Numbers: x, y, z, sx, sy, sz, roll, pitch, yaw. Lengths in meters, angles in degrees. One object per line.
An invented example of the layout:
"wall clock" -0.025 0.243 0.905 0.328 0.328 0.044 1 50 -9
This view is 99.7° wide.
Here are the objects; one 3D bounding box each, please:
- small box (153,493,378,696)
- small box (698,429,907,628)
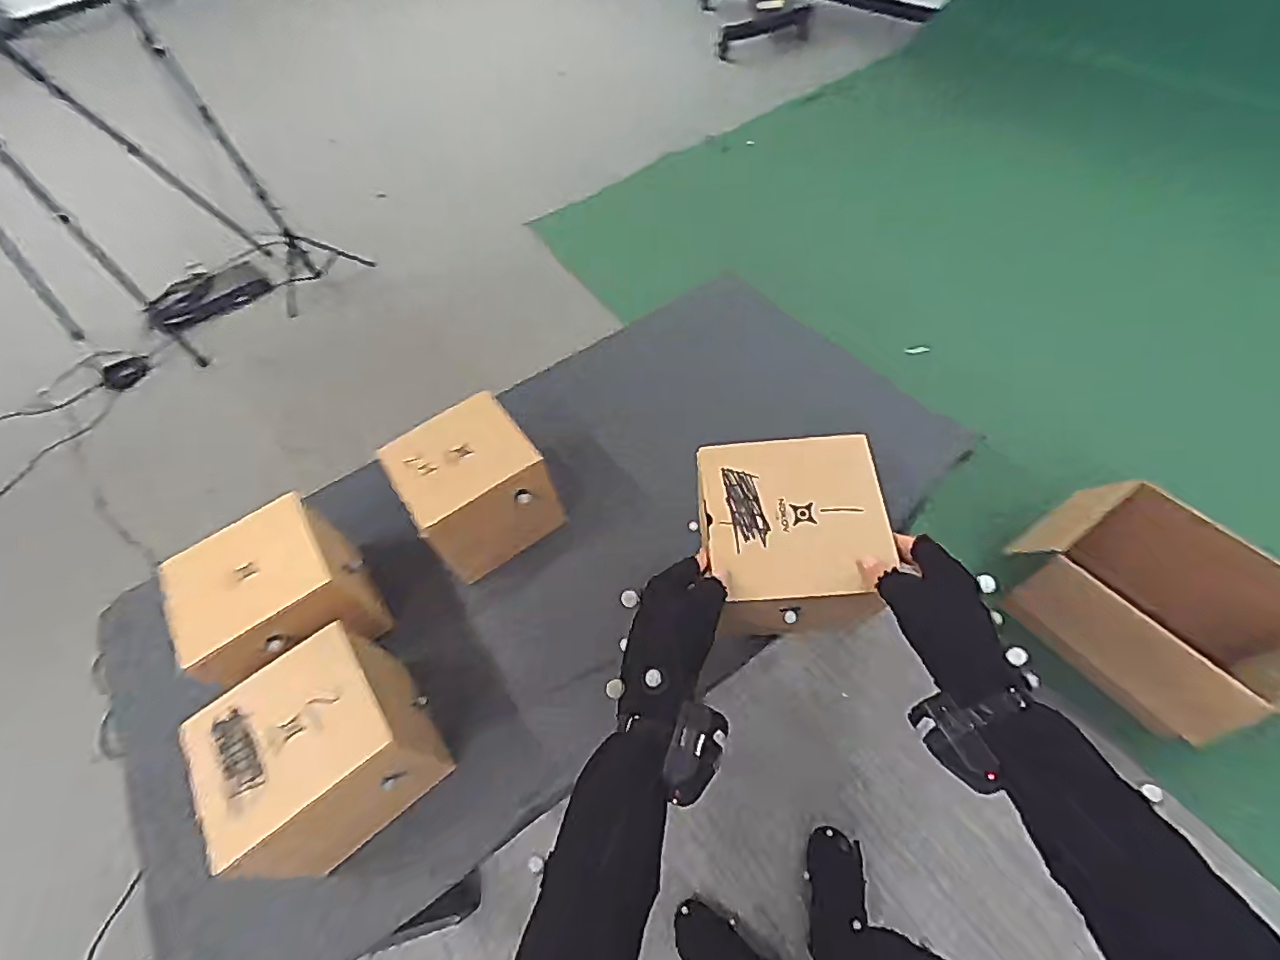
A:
"small box" -0.481 0.156 0.721 0.179 0.176 0.168 -35 60 -15
"small box" 0.159 0.062 0.592 0.179 0.176 0.168 -4 63 4
